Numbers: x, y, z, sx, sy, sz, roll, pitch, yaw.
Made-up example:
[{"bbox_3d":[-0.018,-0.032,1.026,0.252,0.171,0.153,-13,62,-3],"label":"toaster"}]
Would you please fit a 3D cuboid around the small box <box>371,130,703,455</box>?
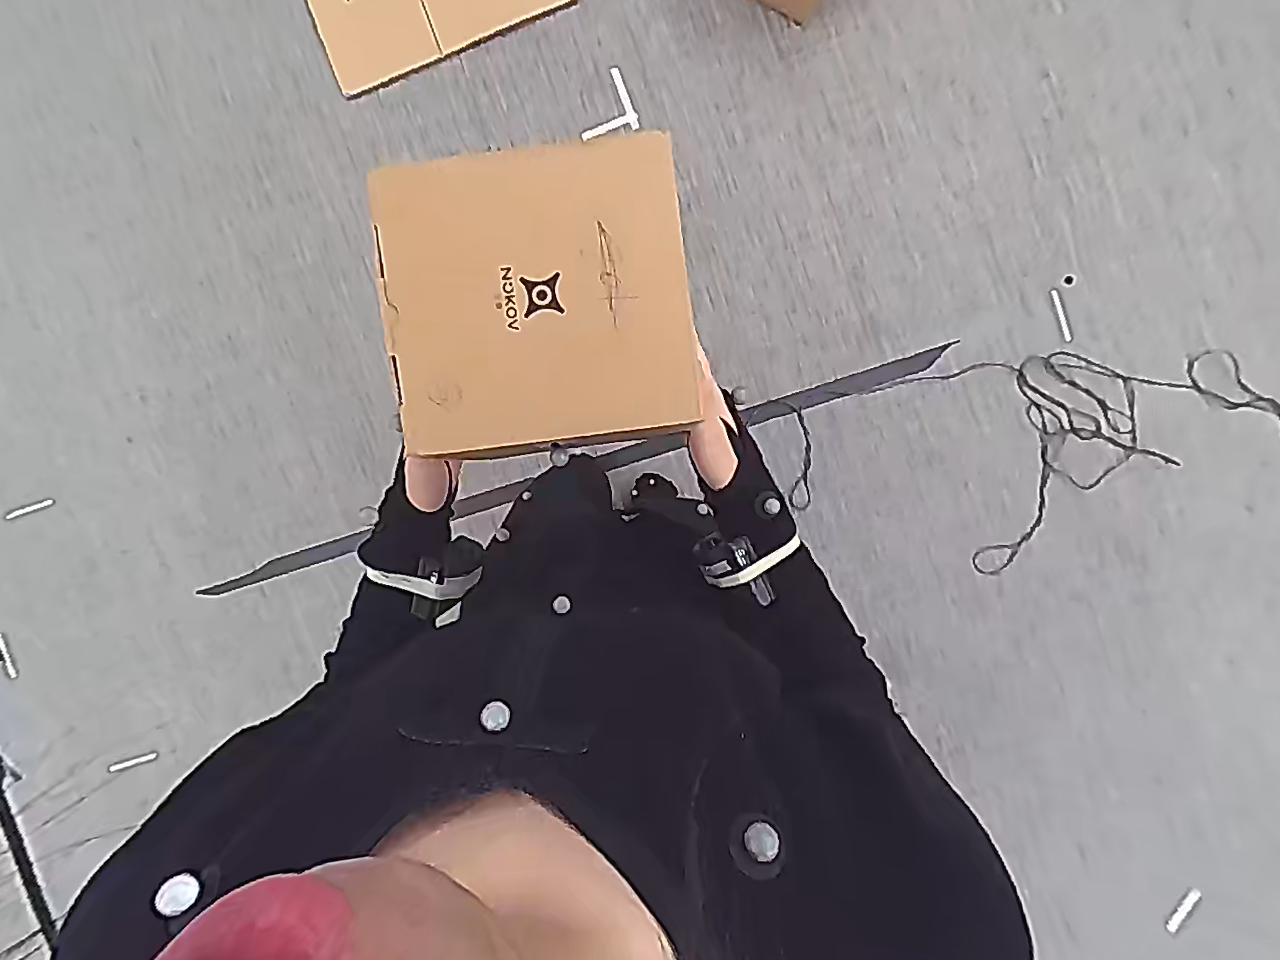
[{"bbox_3d":[-0.057,-0.108,0.387,0.179,0.176,0.168,-8,93,1],"label":"small box"}]
